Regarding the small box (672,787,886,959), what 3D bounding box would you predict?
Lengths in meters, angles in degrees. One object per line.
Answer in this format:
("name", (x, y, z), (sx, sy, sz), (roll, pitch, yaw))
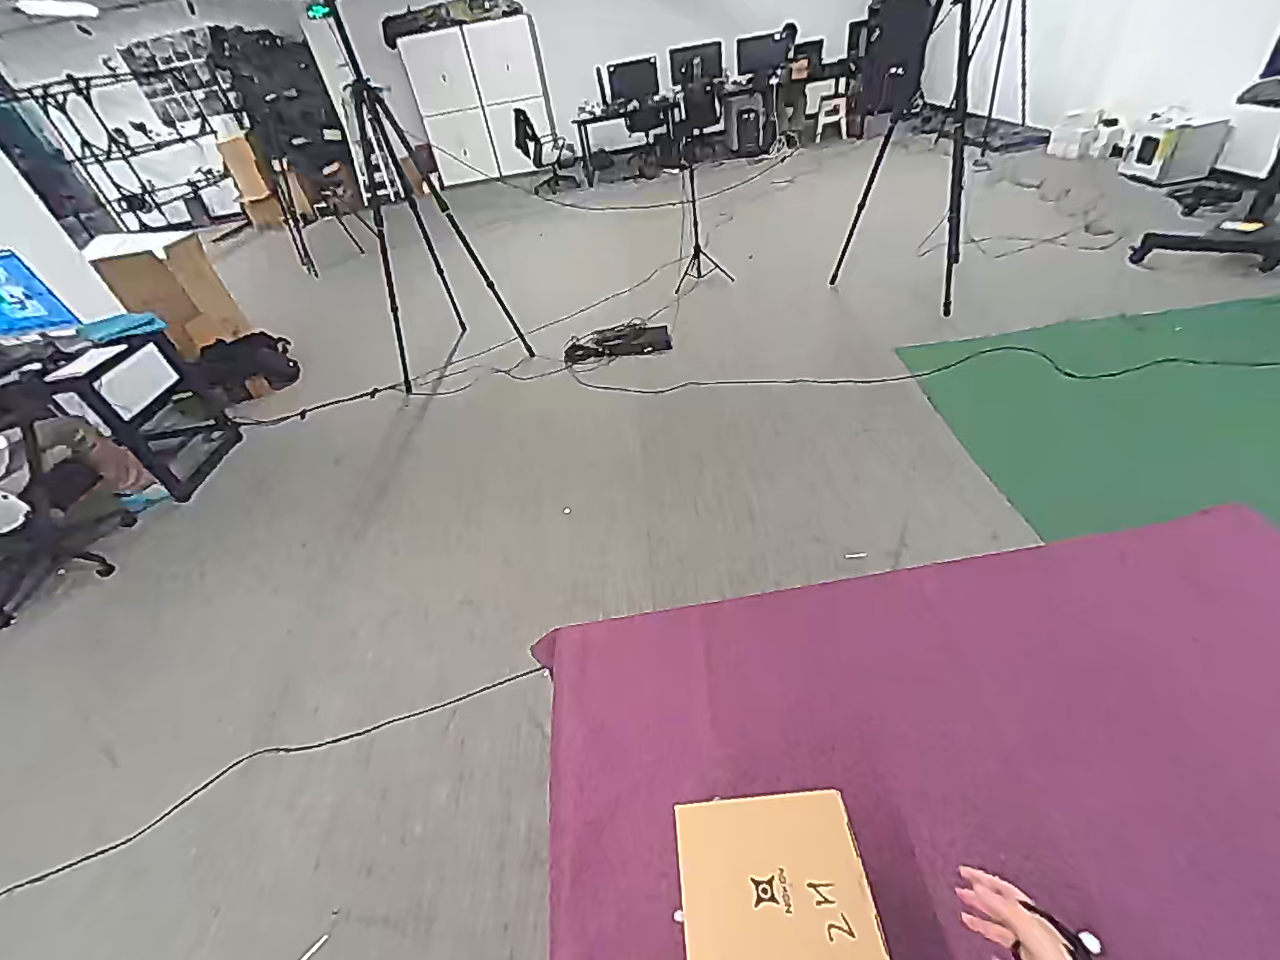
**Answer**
("small box", (0.135, 0.443, 0.556), (0.179, 0.176, 0.168), (-8, 40, 4))
